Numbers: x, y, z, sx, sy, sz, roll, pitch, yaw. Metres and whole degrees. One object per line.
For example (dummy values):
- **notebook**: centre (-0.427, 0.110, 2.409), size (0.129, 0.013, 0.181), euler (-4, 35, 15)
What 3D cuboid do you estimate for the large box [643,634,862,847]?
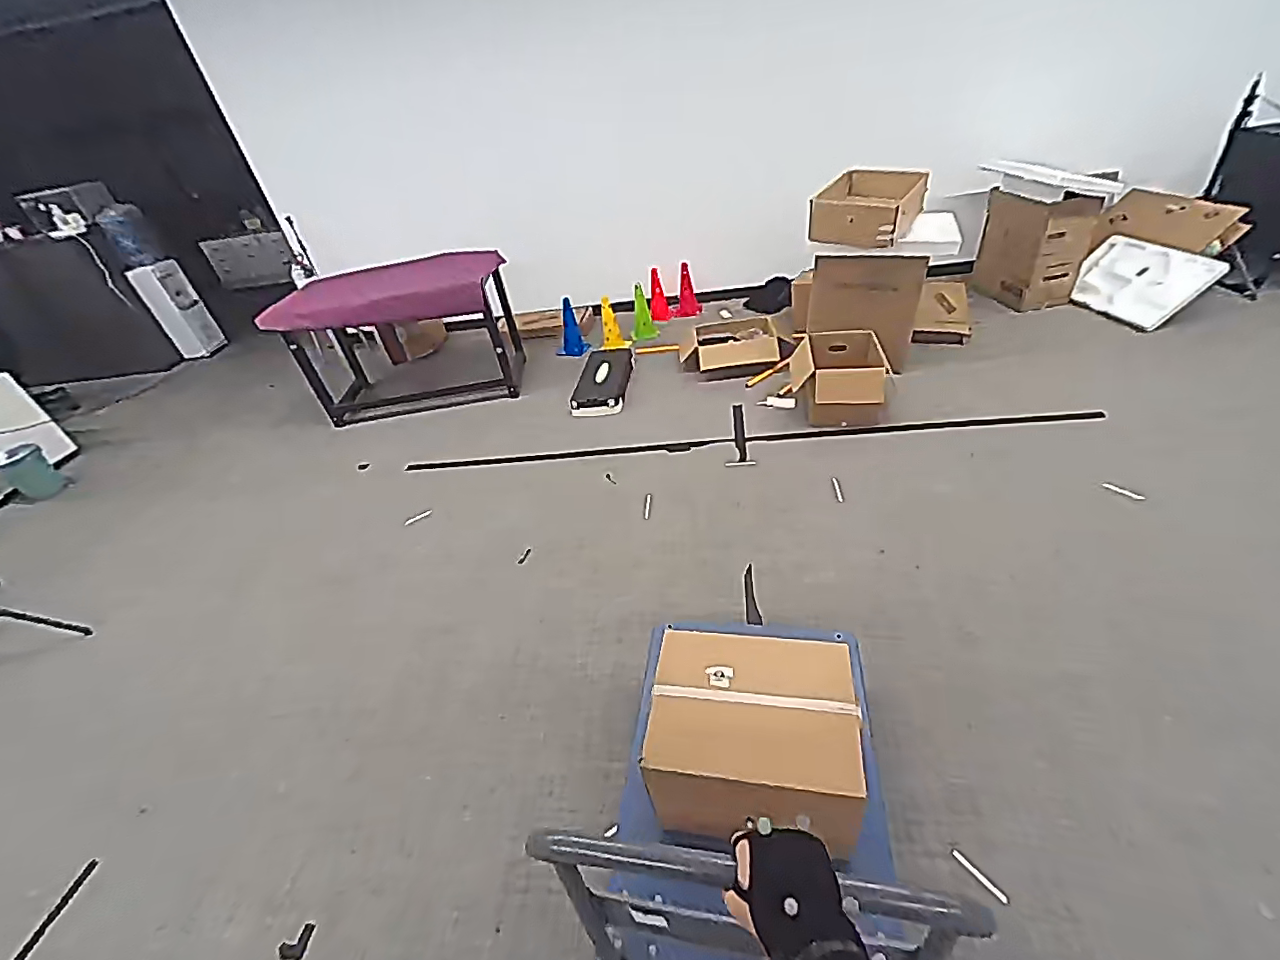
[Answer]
- **large box**: centre (0.248, 0.568, 1.197), size (0.408, 0.320, 0.320), euler (-1, 38, 14)
